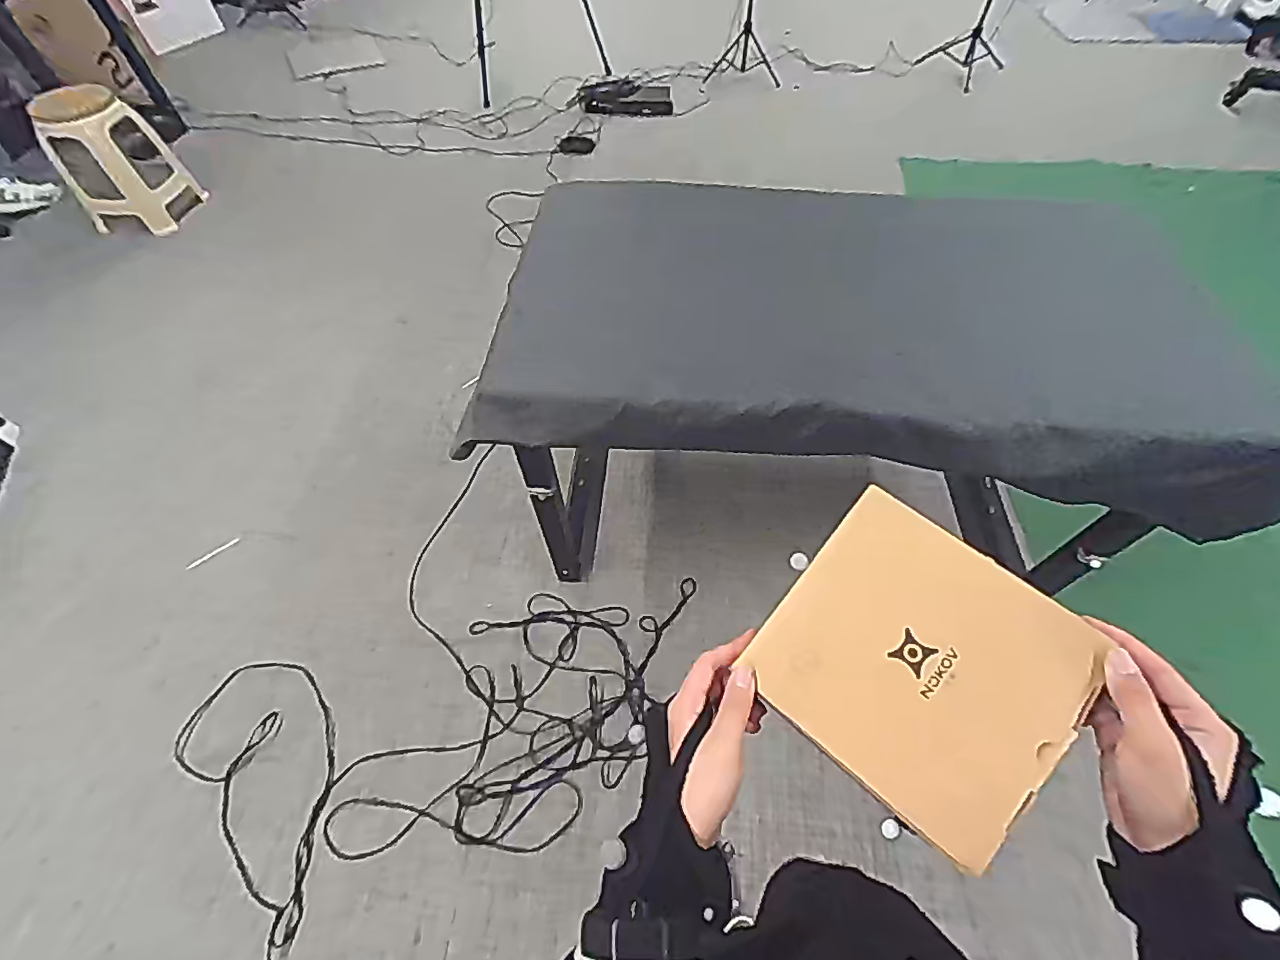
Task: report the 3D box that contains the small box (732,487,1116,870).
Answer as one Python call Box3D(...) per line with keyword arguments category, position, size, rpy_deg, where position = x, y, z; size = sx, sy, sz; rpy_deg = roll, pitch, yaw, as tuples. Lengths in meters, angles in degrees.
Box3D(category="small box", position=(0.186, 0.140, 0.417), size=(0.179, 0.176, 0.168), rpy_deg=(37, 80, 19))
